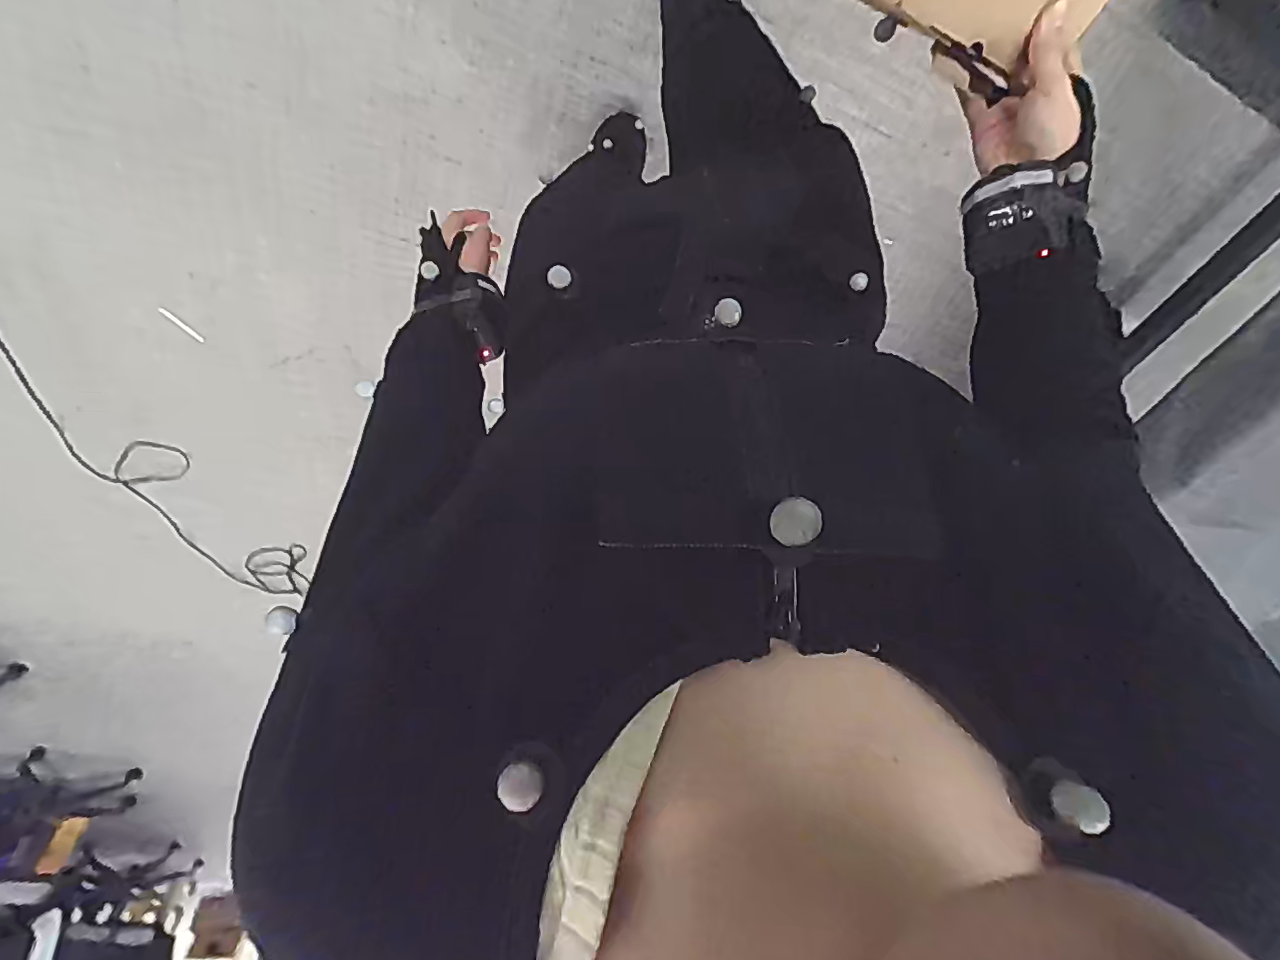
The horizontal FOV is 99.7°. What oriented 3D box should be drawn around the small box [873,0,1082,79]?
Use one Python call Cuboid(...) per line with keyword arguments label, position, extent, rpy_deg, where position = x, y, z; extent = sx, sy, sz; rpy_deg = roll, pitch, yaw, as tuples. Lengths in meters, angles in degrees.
Cuboid(label="small box", position=(0.220, -0.416, 0.354), extent=(0.168, 0.176, 0.179), rpy_deg=(-3, 142, -29))
